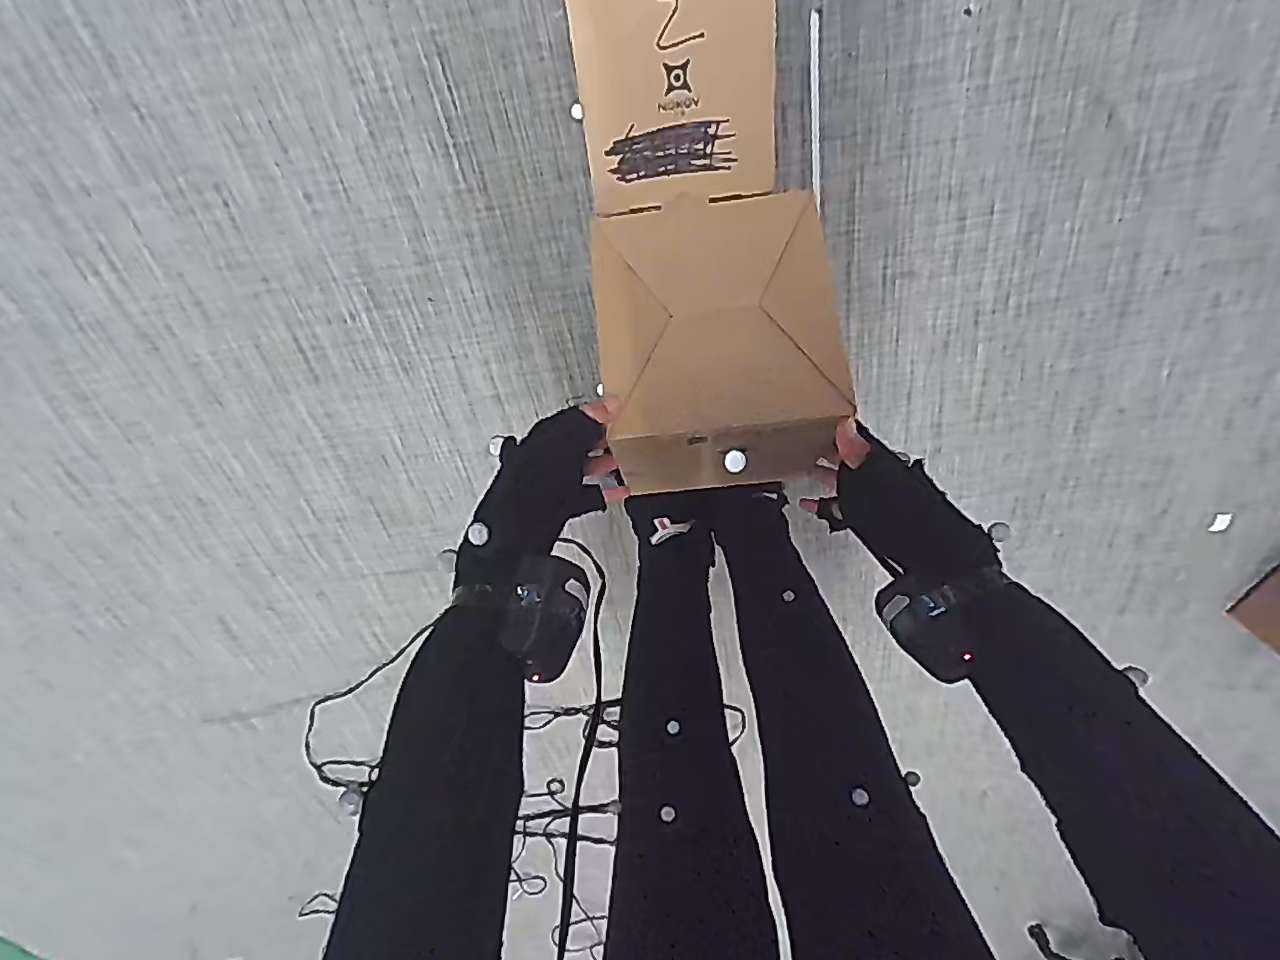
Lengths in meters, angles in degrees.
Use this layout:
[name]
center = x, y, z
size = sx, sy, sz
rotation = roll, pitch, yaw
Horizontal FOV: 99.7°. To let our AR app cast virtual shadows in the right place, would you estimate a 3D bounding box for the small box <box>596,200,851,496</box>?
[small box]
center = 0.059, -0.097, 0.448
size = 0.168, 0.179, 0.176
rotation = -6, 165, 4
